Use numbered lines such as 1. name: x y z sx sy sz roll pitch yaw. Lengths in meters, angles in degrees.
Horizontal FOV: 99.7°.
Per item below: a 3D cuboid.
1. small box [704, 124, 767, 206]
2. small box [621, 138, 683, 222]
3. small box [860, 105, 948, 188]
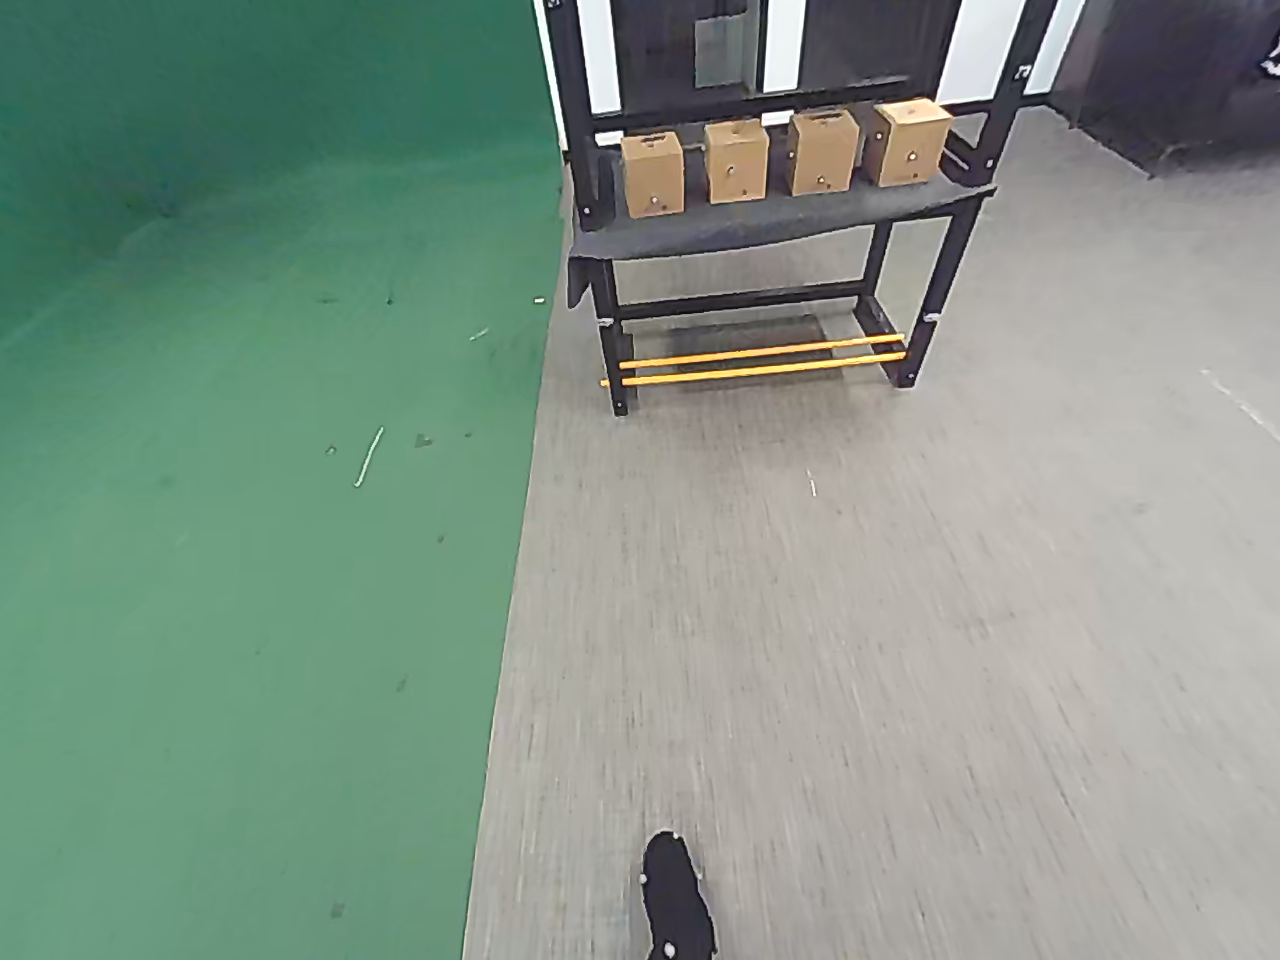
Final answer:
1. small box: 0.286 -0.952 1.646 0.168 0.176 0.179 -5 49 3
2. small box: 0.037 -0.903 1.632 0.168 0.176 0.179 -8 50 0
3. small box: 0.776 -0.987 1.611 0.168 0.176 0.179 -5 48 2
